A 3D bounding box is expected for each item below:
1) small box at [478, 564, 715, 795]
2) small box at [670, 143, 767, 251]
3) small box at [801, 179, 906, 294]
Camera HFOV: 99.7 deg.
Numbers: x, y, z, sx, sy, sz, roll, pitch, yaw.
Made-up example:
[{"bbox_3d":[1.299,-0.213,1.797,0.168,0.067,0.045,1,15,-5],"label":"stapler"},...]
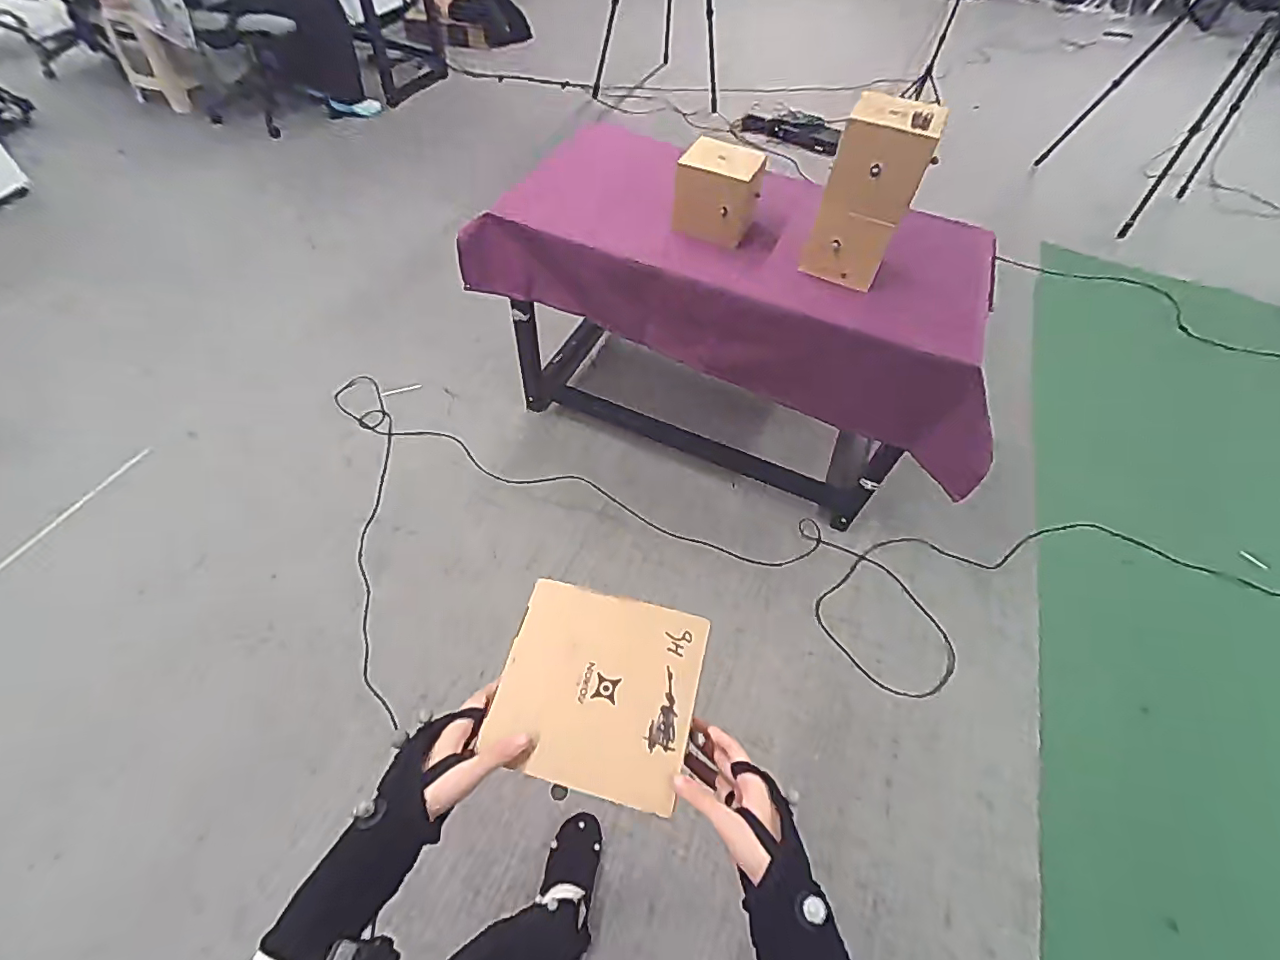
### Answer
[{"bbox_3d":[-0.031,0.209,0.550,0.179,0.176,0.168,12,60,10],"label":"small box"},{"bbox_3d":[0.190,-0.693,1.334,0.179,0.176,0.168,22,55,11],"label":"small box"},{"bbox_3d":[0.493,-0.567,1.267,0.168,0.176,0.179,23,55,12],"label":"small box"}]
